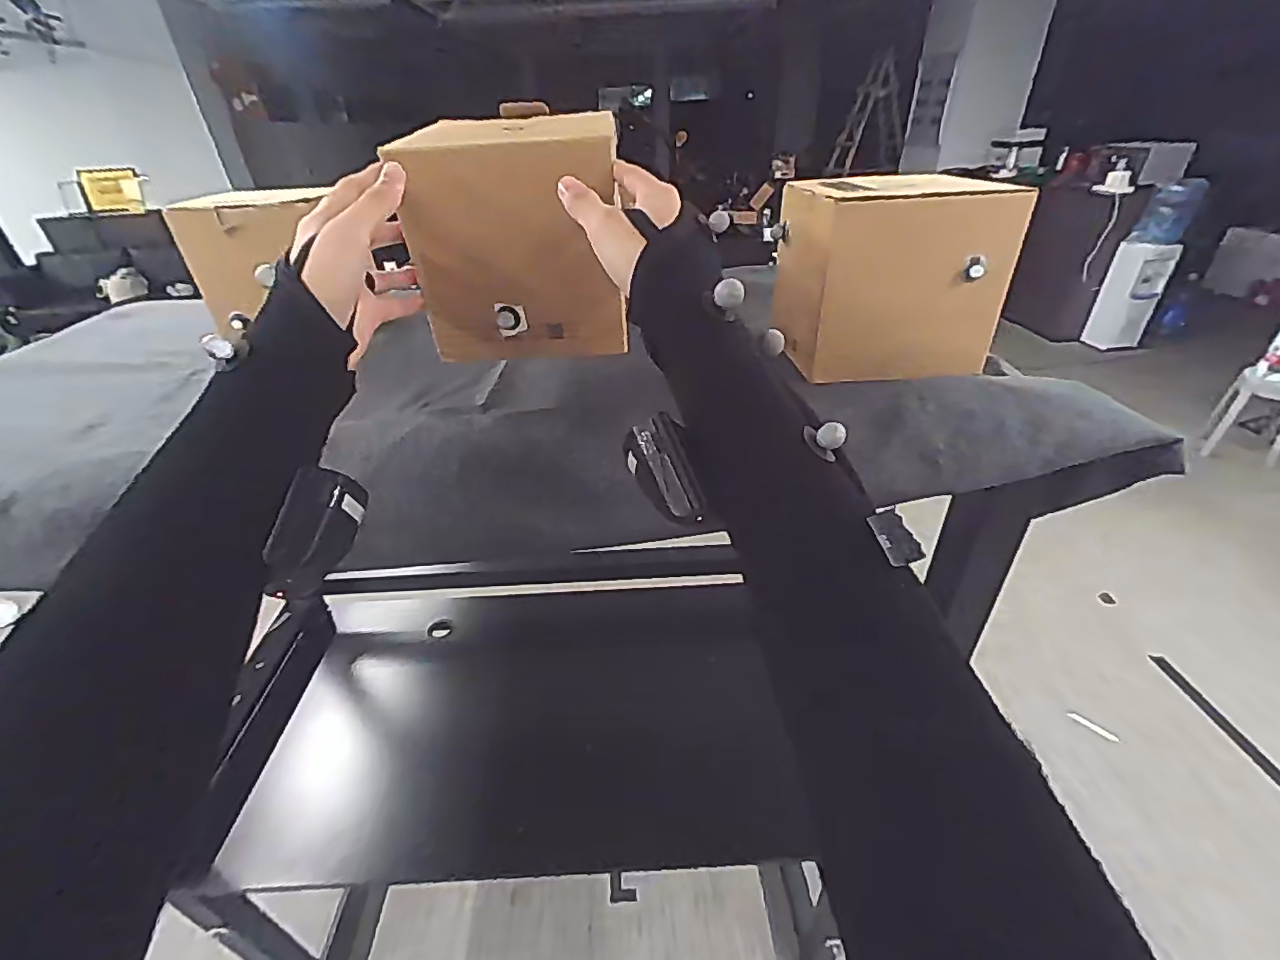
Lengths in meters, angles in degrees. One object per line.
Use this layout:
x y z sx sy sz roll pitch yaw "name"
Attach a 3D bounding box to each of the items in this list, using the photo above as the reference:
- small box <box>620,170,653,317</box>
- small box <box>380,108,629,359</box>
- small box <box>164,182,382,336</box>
-0.074 -0.332 0.764 0.179 0.176 0.168 -3 33 -2 "small box"
-0.098 -0.223 0.485 0.168 0.176 0.179 -4 39 1 "small box"
-0.481 -0.303 0.747 0.168 0.176 0.179 -5 34 -4 "small box"
